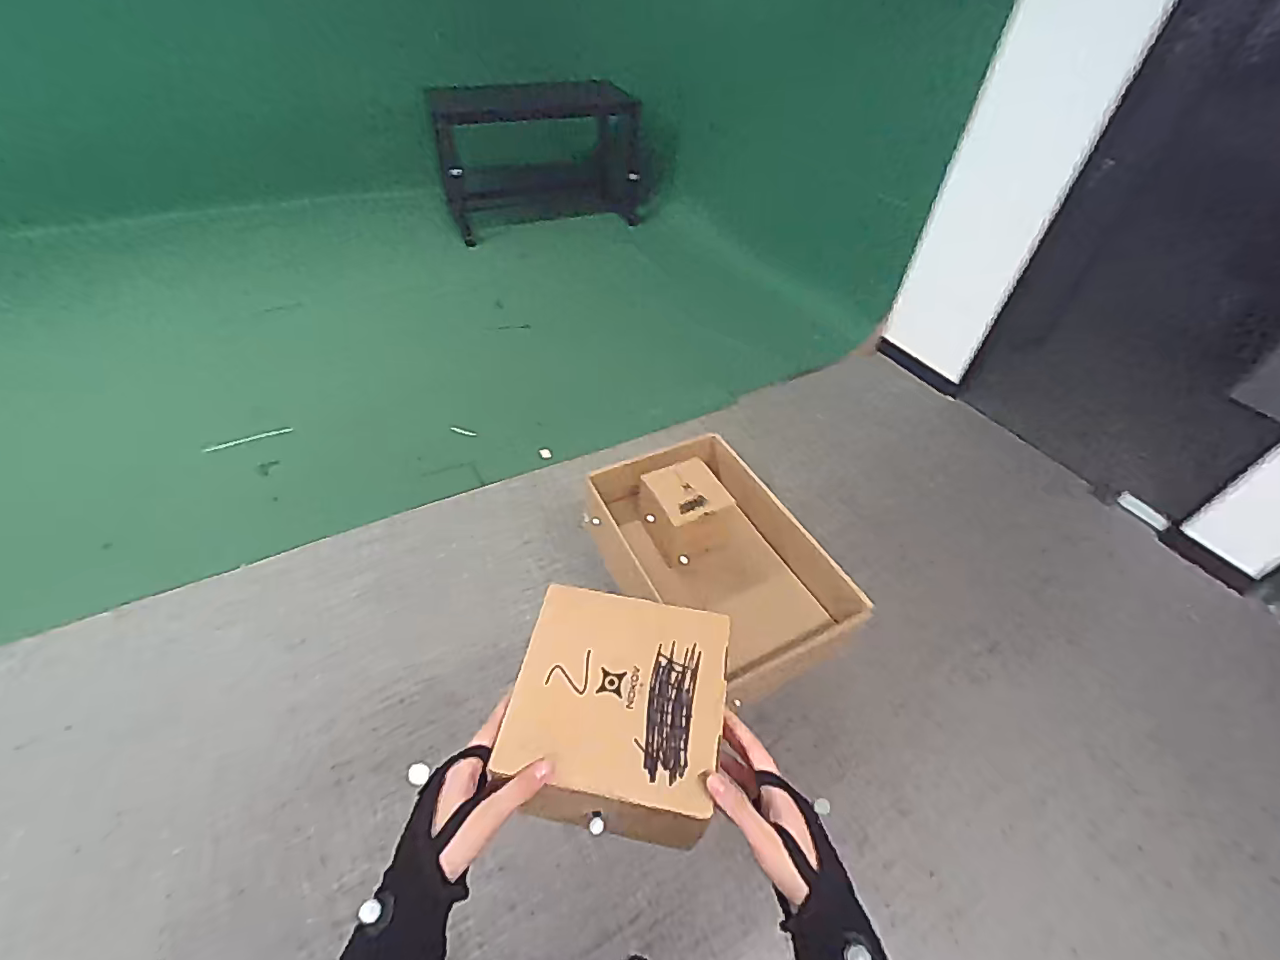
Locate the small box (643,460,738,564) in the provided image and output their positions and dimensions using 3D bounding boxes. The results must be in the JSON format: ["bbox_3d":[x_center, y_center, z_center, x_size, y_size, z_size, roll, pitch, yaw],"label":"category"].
[{"bbox_3d":[0.117,0.085,1.332,0.168,0.176,0.179,-18,49,-19],"label":"small box"}]
